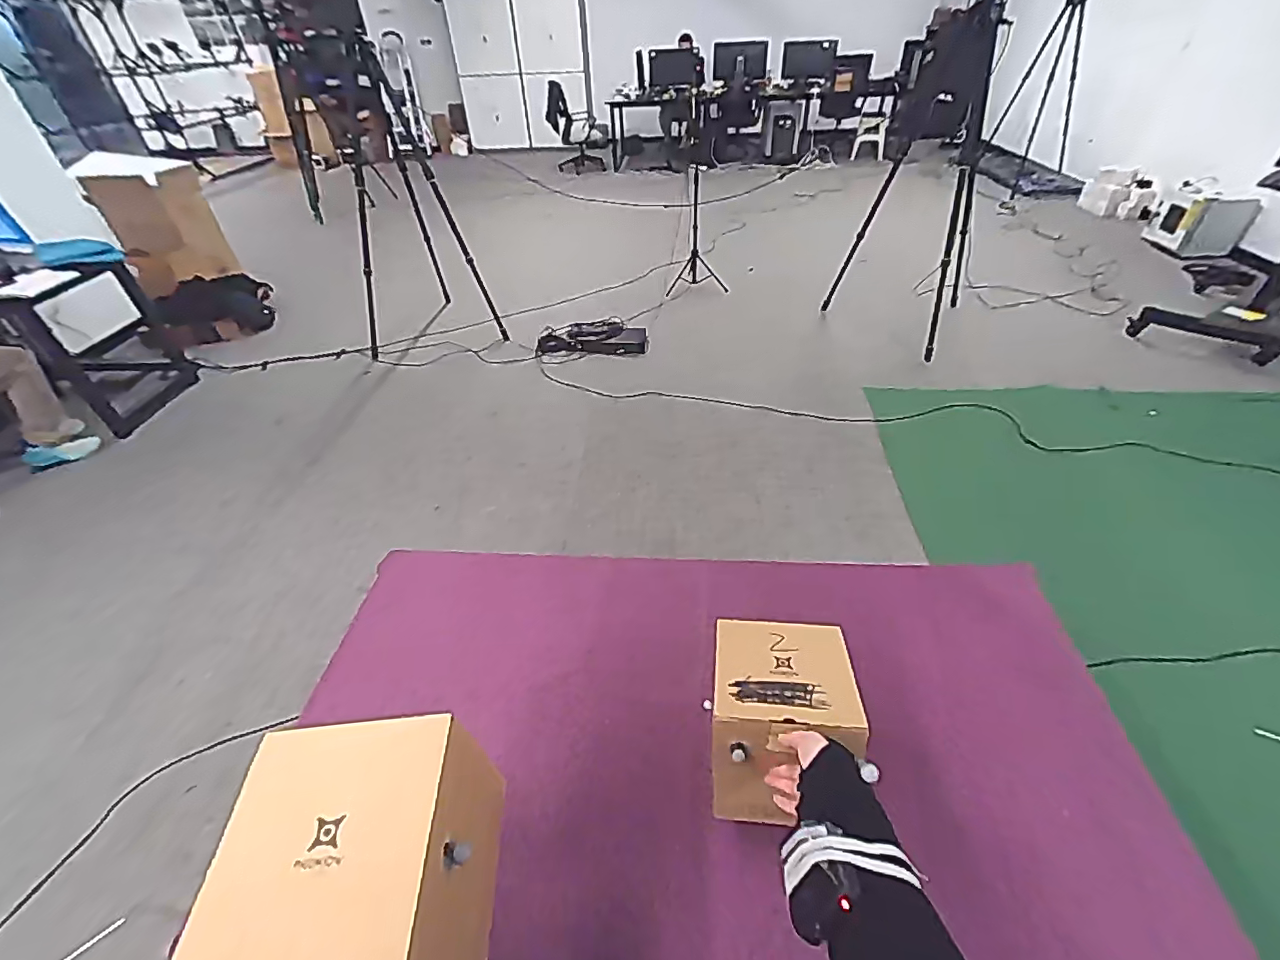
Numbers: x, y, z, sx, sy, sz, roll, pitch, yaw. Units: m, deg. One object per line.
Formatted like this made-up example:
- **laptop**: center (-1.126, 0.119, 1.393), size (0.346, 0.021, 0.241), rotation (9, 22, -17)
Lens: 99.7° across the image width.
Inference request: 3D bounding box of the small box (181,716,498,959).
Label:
- **small box**: center (-0.232, 0.333, 0.476), size (0.168, 0.176, 0.179), rotation (-6, 45, 1)
